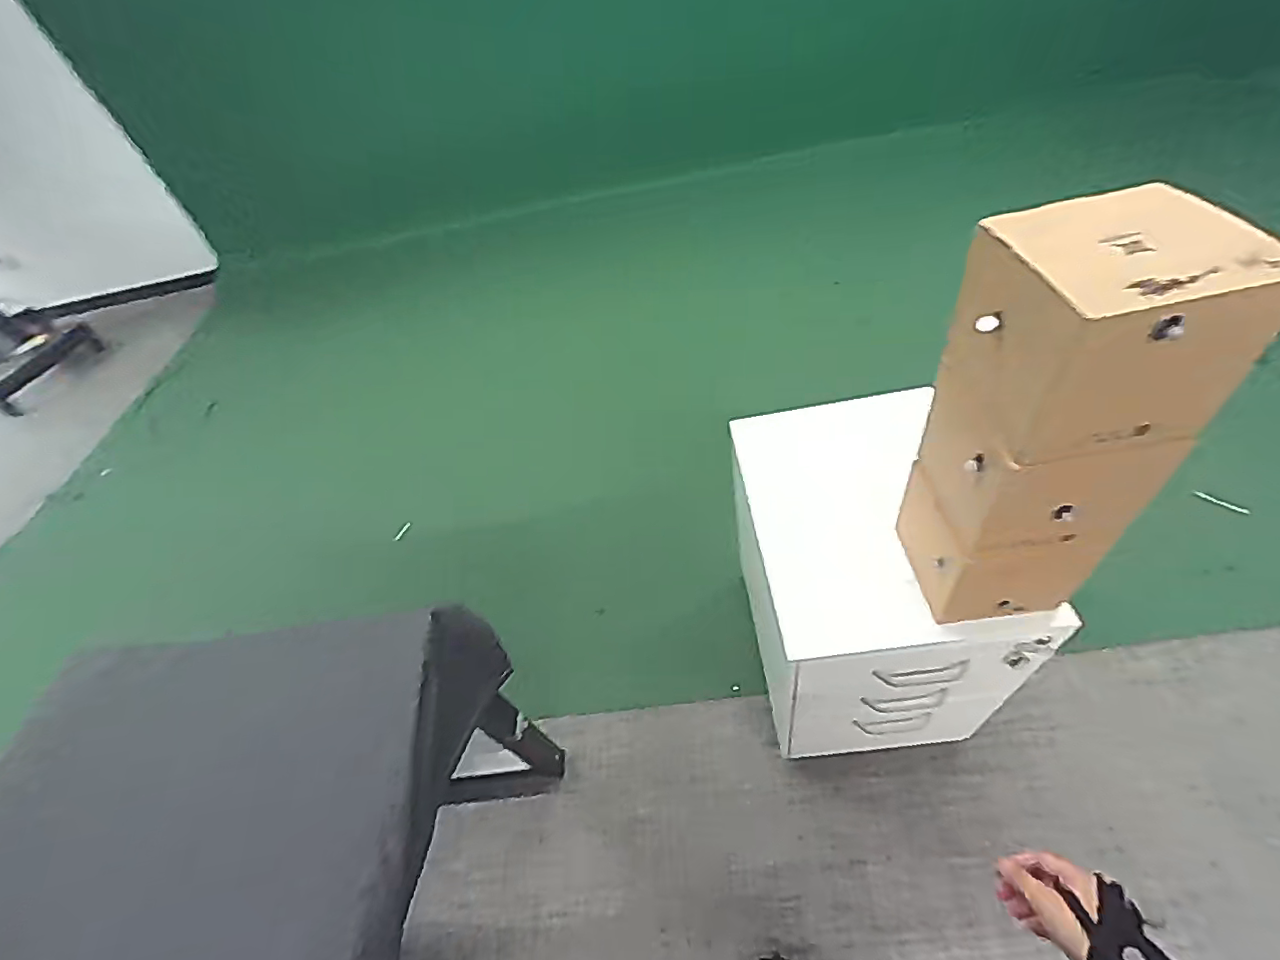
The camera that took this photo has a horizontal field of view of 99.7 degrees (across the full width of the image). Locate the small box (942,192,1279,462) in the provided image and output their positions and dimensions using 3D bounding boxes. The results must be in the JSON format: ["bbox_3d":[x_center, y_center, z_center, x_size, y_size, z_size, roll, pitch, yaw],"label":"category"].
[{"bbox_3d":[0.422,-0.143,0.518,0.168,0.176,0.179,-10,48,5],"label":"small box"}]

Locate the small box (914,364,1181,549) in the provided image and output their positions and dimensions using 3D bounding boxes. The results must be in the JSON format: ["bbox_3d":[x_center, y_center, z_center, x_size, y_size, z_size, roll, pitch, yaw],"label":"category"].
[{"bbox_3d":[0.448,-0.032,0.636,0.168,0.176,0.179,-8,48,6],"label":"small box"}]
